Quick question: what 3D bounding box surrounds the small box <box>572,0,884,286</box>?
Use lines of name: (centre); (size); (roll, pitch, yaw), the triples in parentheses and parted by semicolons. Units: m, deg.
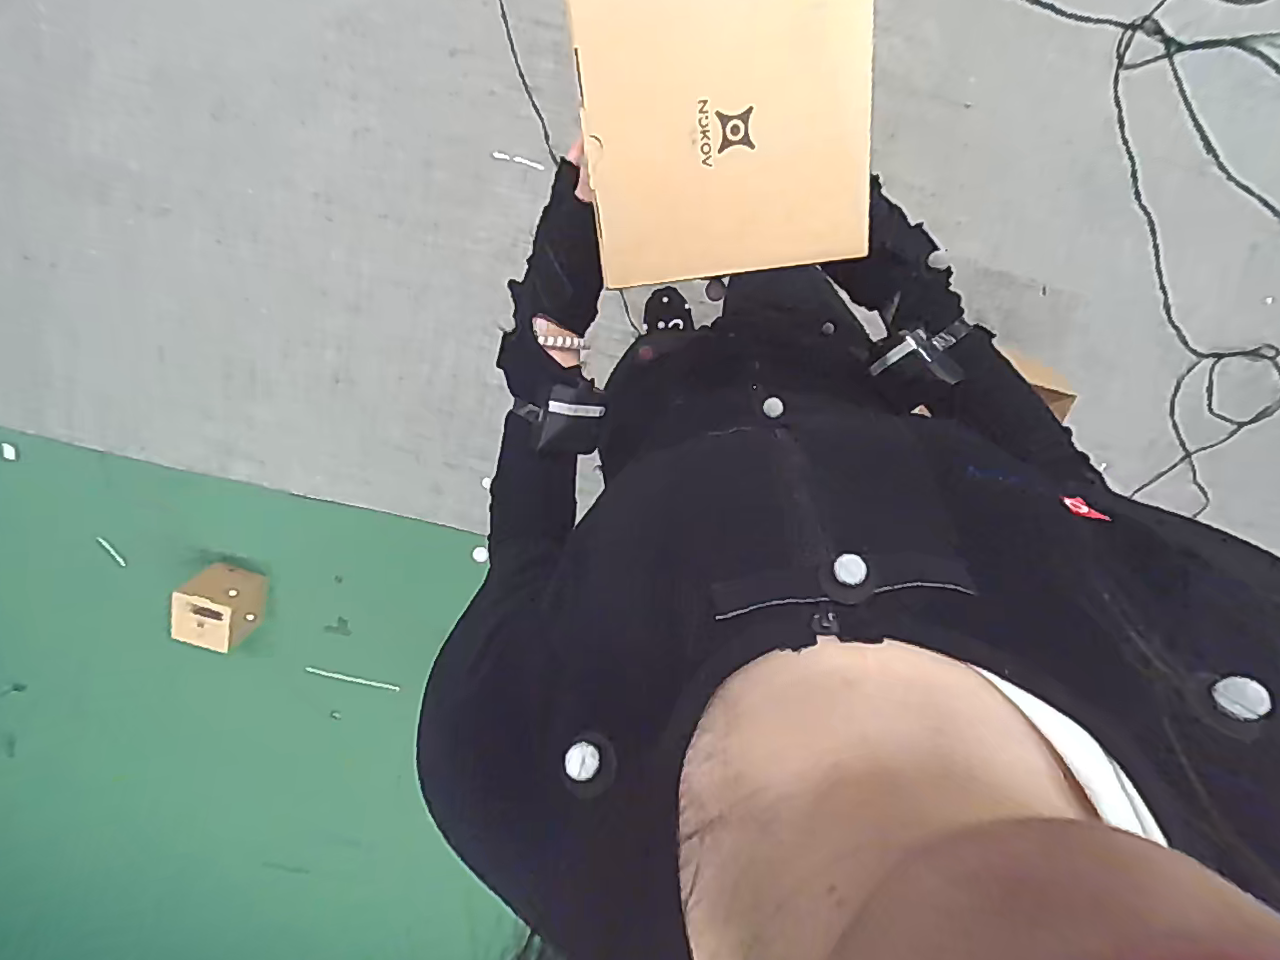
small box: (0.054, -0.241, 0.396); (0.179, 0.176, 0.168); (-6, 111, 2)
